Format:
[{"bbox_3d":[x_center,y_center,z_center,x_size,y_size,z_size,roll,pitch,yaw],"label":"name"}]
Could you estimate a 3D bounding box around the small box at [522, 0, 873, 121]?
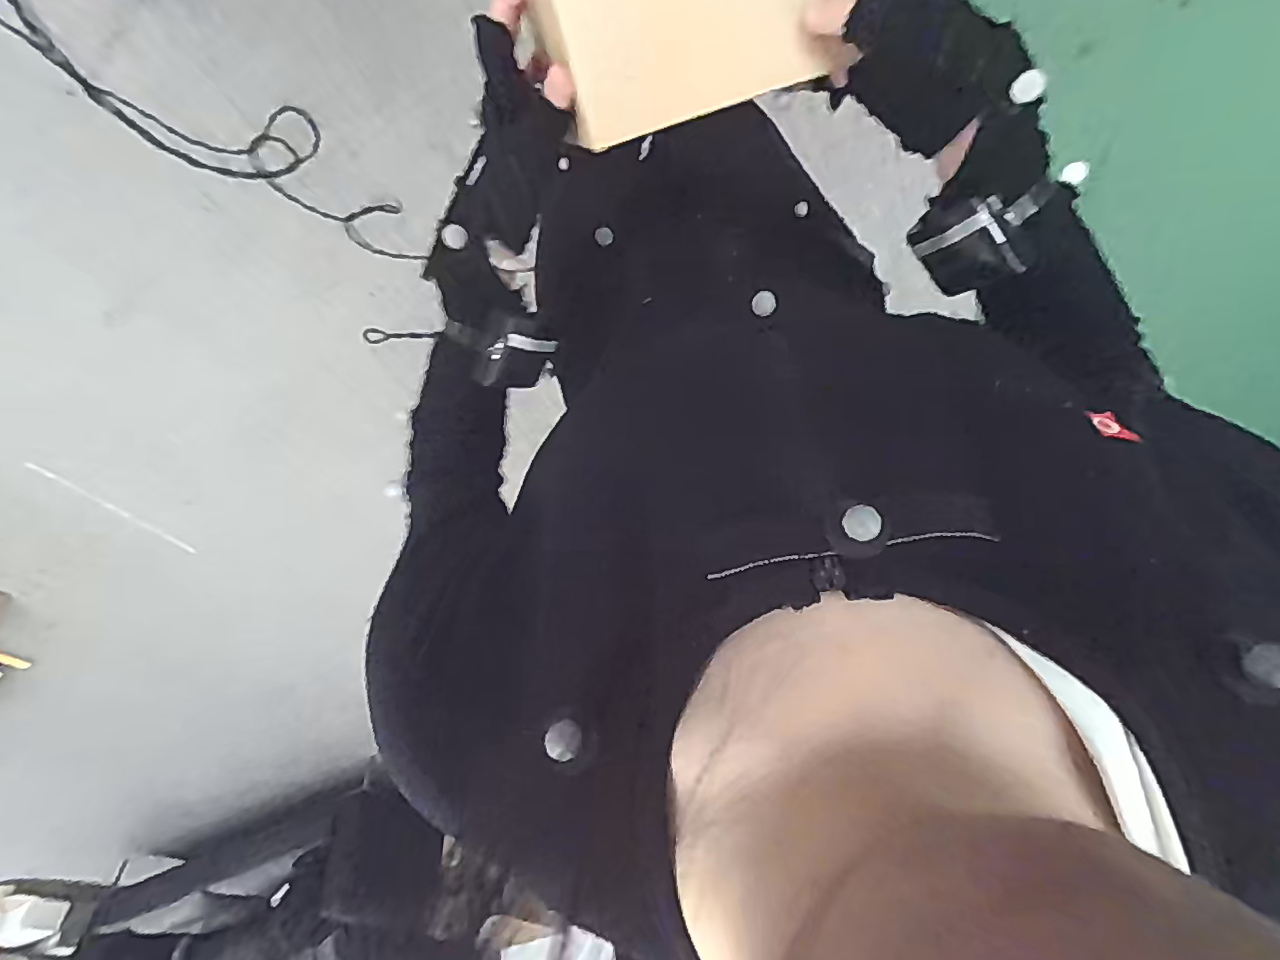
[{"bbox_3d":[0.012,-0.331,0.322,0.179,0.176,0.168,-21,126,-4],"label":"small box"}]
